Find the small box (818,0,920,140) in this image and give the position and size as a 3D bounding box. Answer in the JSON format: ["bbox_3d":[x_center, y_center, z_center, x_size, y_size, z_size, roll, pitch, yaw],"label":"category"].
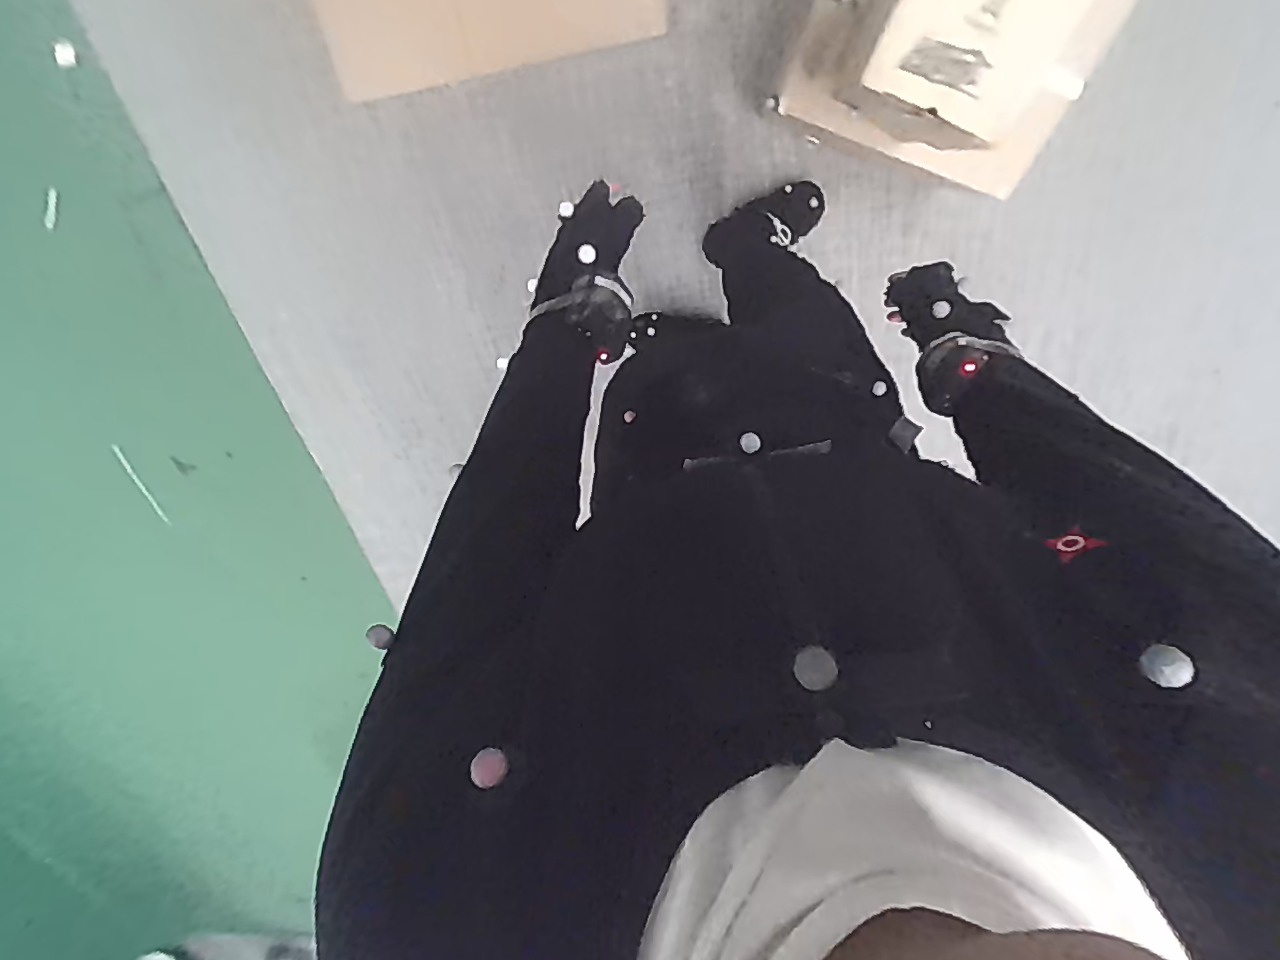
[{"bbox_3d":[0.364,-0.578,0.722,0.179,0.176,0.168,24,119,-7],"label":"small box"}]

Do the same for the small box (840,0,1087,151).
[{"bbox_3d":[0.337,-0.483,0.587,0.168,0.176,0.179,20,123,-3],"label":"small box"}]
